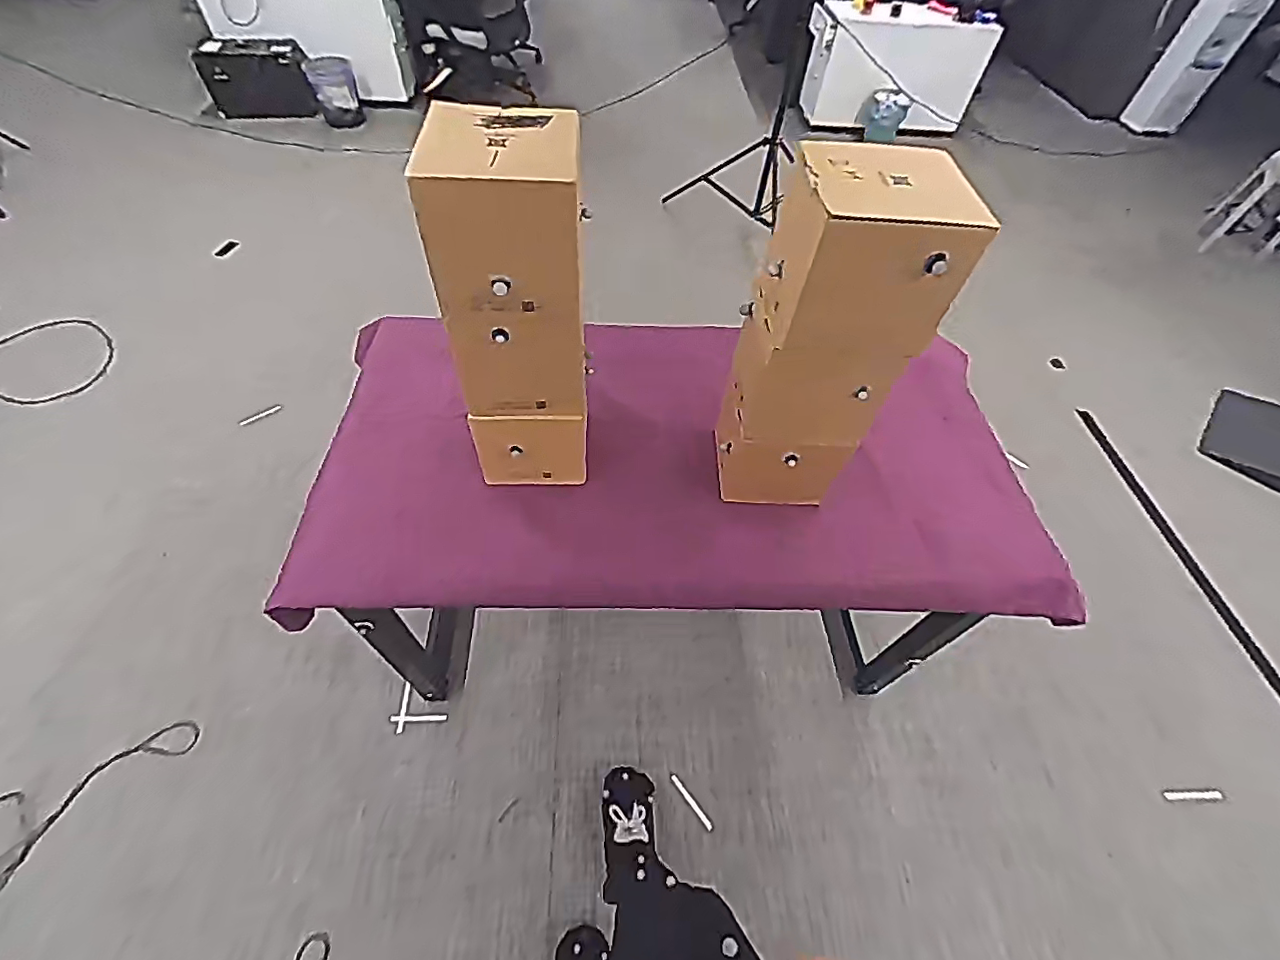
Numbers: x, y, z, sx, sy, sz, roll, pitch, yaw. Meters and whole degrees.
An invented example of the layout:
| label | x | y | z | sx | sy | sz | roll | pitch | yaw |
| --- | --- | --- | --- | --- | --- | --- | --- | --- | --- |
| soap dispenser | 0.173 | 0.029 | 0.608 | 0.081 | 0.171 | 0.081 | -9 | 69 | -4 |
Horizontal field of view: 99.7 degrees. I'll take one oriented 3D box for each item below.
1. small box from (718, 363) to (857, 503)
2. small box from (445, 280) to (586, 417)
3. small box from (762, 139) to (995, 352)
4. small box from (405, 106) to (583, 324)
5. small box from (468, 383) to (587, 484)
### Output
| label | x | y | z | sx | sy | sz | roll | pitch | yaw |
| --- | --- | --- | --- | --- | --- | --- | --- | --- | --- |
| small box | 0.229 | -0.074 | 0.899 | 0.179 | 0.176 | 0.168 | 2 | 54 | -3 |
| small box | -0.164 | -0.210 | 0.768 | 0.168 | 0.176 | 0.179 | -2 | 52 | -5 |
| small box | 0.257 | -0.267 | 0.632 | 0.179 | 0.176 | 0.168 | 1 | 53 | -2 |
| small box | -0.154 | -0.307 | 0.635 | 0.168 | 0.176 | 0.179 | -1 | 54 | -4 |
| small box | -0.174 | -0.106 | 0.894 | 0.168 | 0.176 | 0.179 | -1 | 53 | -4 |
